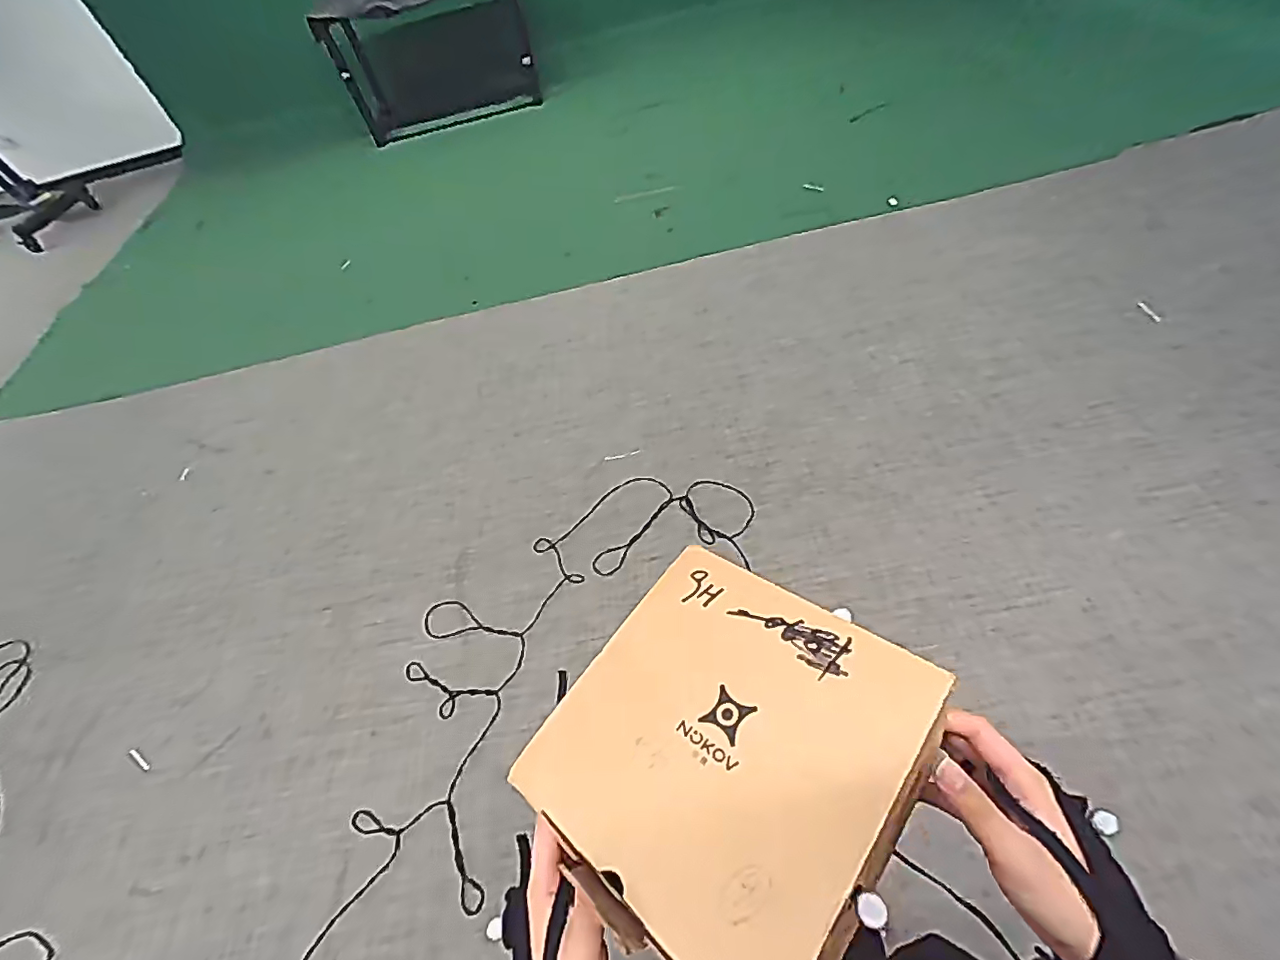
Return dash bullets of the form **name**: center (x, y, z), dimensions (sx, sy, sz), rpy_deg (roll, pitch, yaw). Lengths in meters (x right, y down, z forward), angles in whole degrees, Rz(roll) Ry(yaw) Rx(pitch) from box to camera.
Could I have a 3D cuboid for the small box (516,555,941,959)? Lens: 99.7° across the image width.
- **small box**: center (0.065, 0.186, 0.338), dimensions (0.168, 0.176, 0.179), rpy_deg (23, 63, 37)
